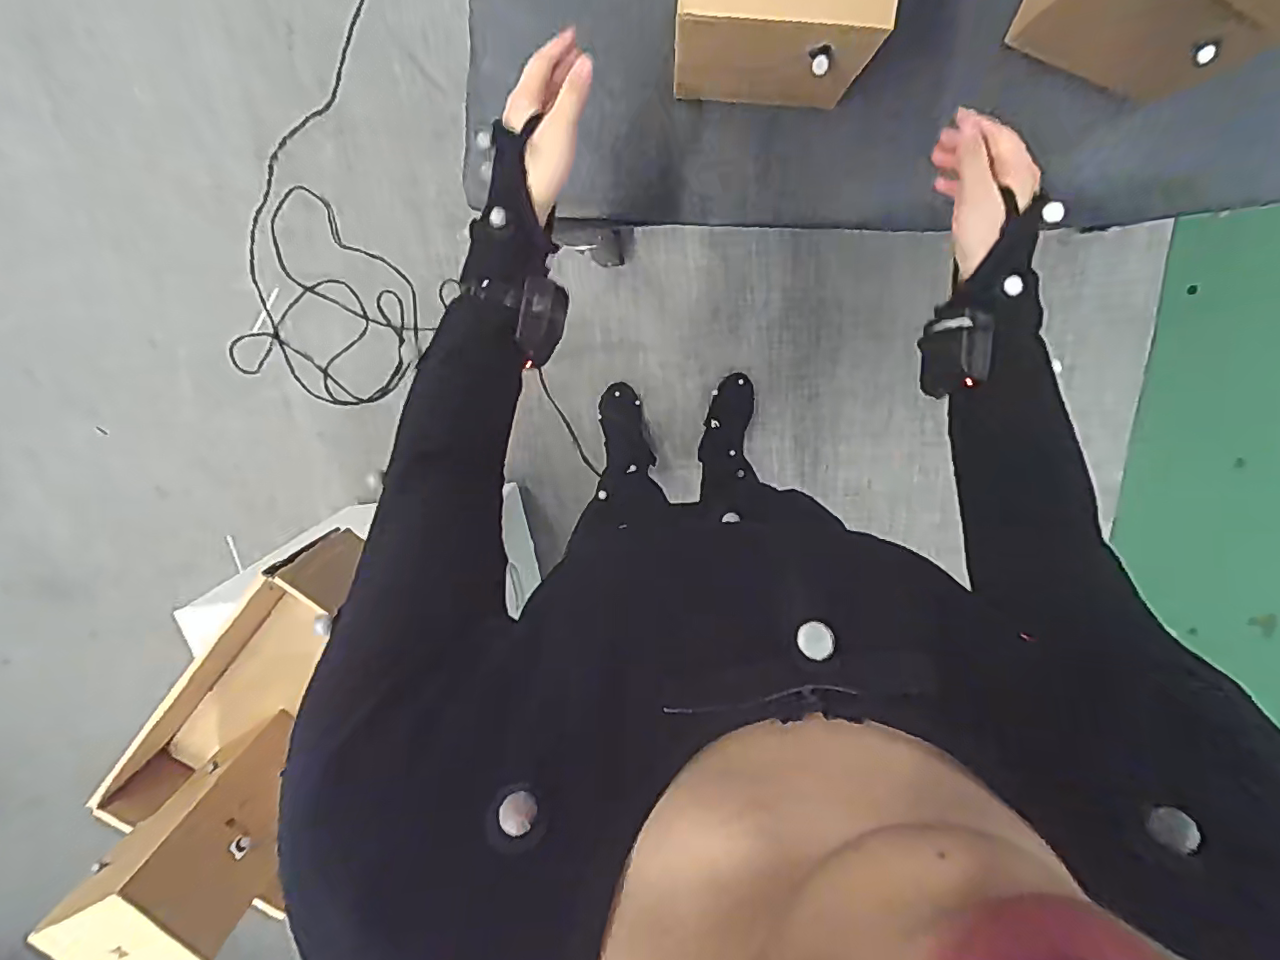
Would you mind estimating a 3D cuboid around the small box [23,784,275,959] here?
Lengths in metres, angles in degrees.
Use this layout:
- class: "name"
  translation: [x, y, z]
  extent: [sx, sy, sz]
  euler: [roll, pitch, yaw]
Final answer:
- class: "small box"
  translation: [-0.693, 0.592, 0.789]
  extent: [0.179, 0.176, 0.168]
  euler: [-30, 106, 10]

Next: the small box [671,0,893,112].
- class: "small box"
  translation: [0.123, -0.460, 0.491]
  extent: [0.179, 0.176, 0.168]
  euler: [6, 106, 2]
